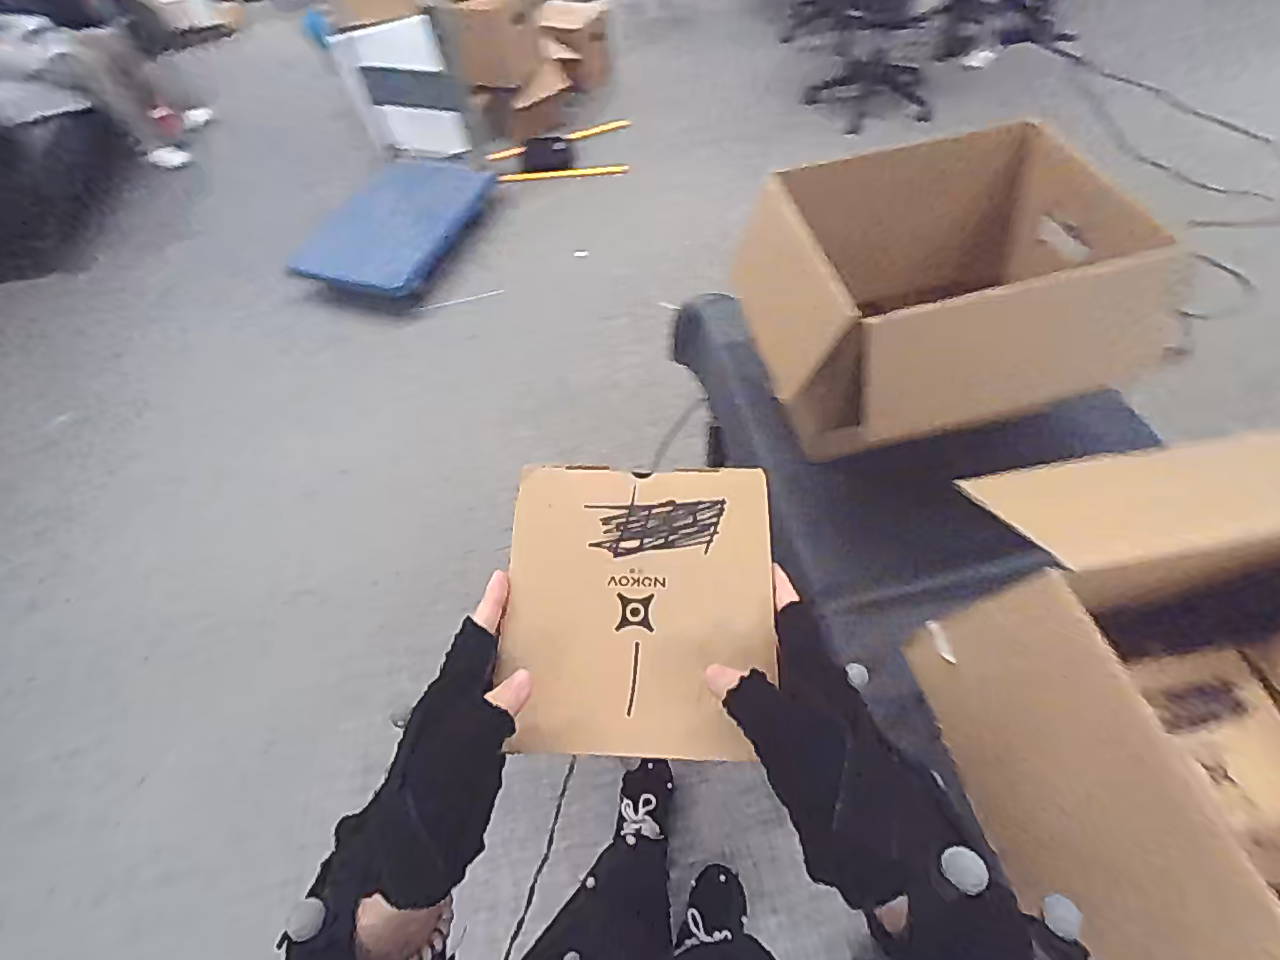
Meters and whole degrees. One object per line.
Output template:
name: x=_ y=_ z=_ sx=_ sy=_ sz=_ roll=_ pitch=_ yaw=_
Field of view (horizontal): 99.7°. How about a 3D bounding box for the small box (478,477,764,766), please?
small box: x=-0.008 y=0.112 z=0.411 sx=0.168 sy=0.176 sz=0.179 roll=1 pitch=67 yaw=1
